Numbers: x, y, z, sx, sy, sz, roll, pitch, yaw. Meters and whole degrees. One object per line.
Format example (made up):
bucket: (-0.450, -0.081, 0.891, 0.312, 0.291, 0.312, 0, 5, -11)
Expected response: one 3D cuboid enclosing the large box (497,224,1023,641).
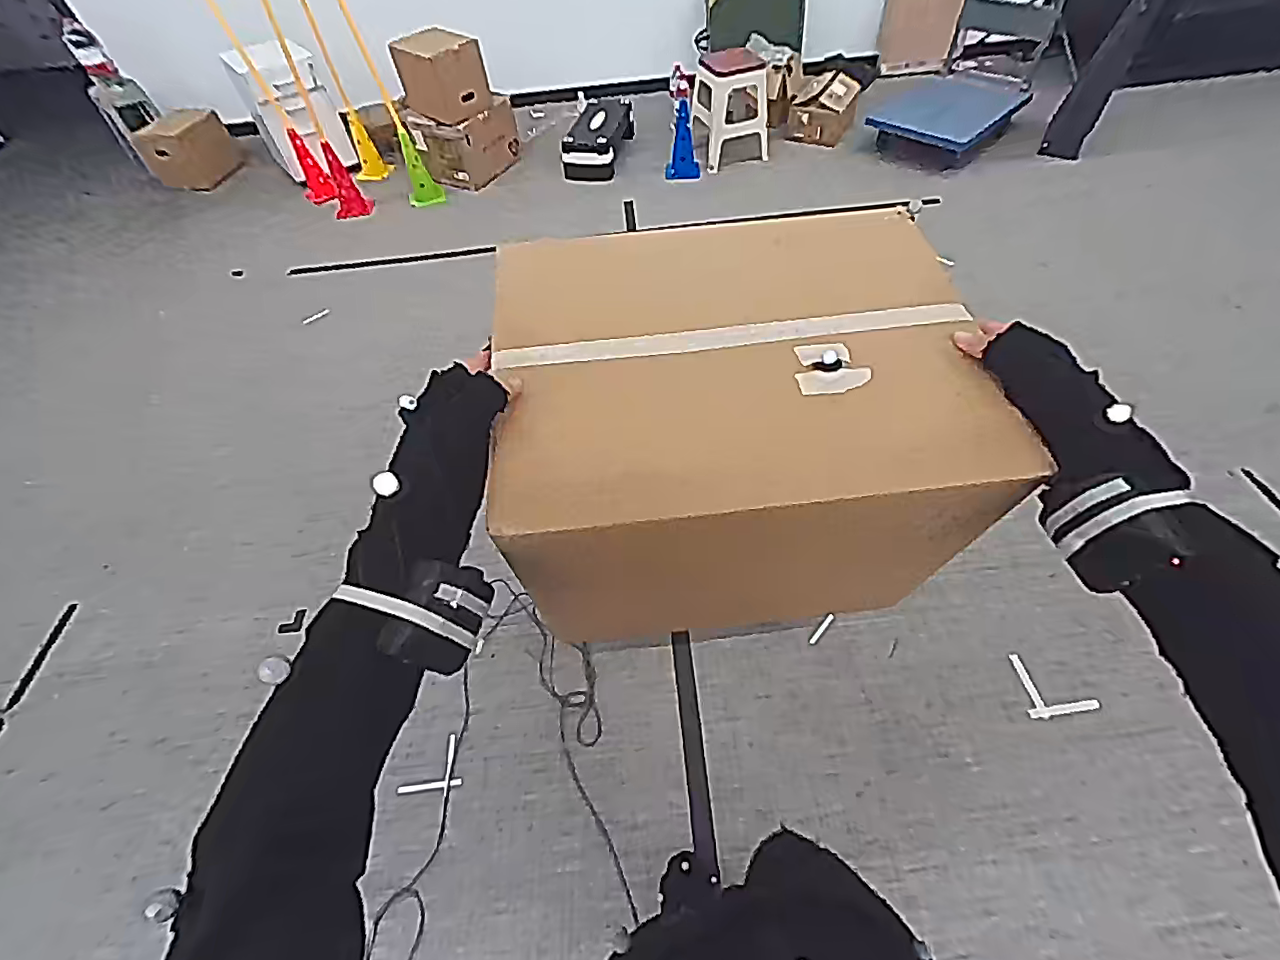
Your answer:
large box: (0.078, -0.035, 0.599, 0.408, 0.320, 0.320, -6, 60, -2)
